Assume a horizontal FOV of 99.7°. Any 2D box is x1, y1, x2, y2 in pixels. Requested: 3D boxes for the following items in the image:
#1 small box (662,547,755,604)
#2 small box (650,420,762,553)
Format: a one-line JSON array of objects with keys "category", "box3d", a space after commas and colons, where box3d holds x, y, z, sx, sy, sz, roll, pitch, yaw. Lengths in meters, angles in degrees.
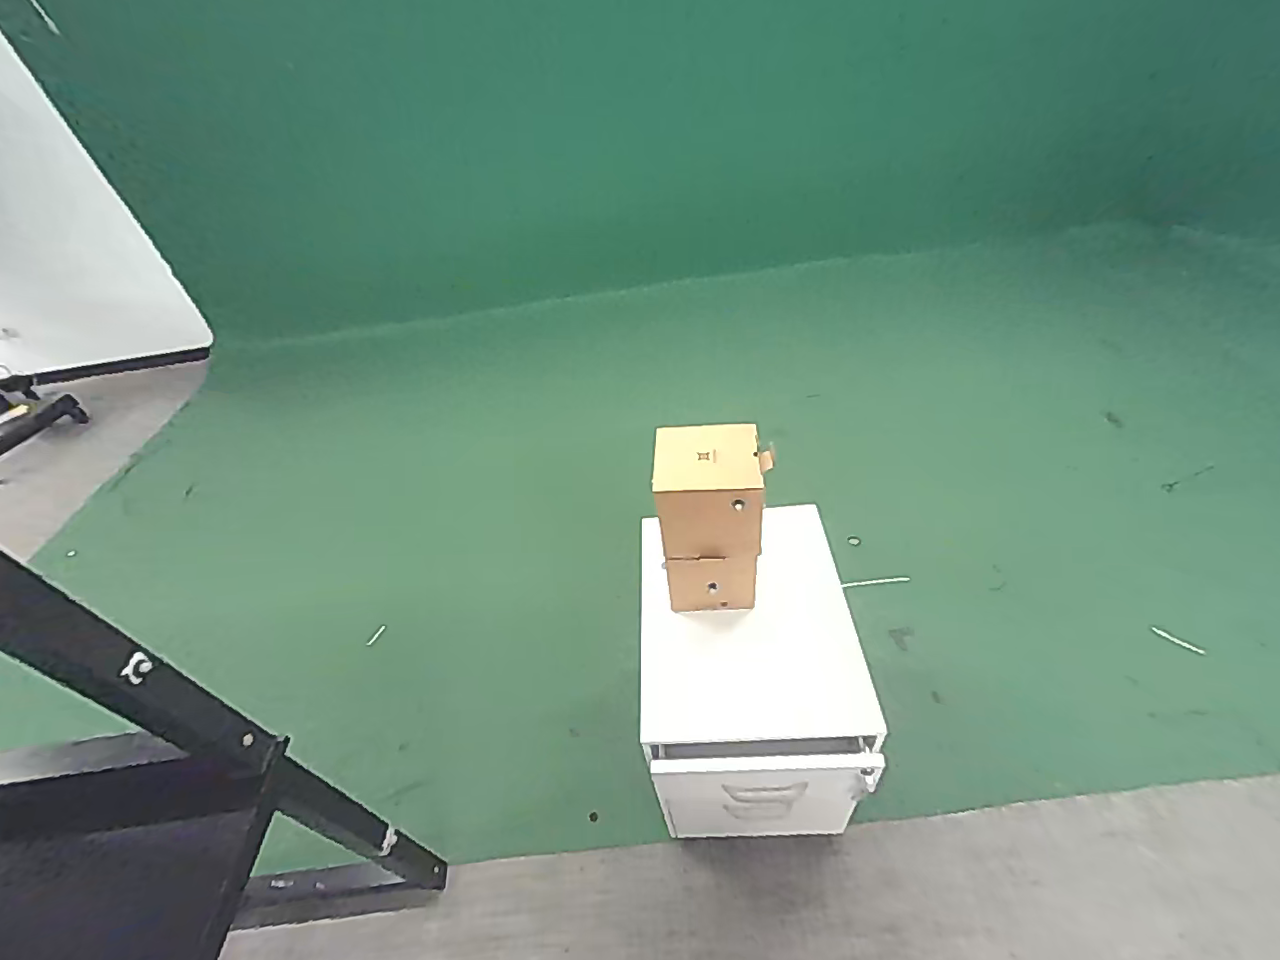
[{"category": "small box", "box3d": [0.132, 0.130, 1.055, 0.168, 0.176, 0.179, -4, 44, 5]}, {"category": "small box", "box3d": [0.116, 0.014, 0.941, 0.179, 0.176, 0.168, -2, 43, 7]}]
